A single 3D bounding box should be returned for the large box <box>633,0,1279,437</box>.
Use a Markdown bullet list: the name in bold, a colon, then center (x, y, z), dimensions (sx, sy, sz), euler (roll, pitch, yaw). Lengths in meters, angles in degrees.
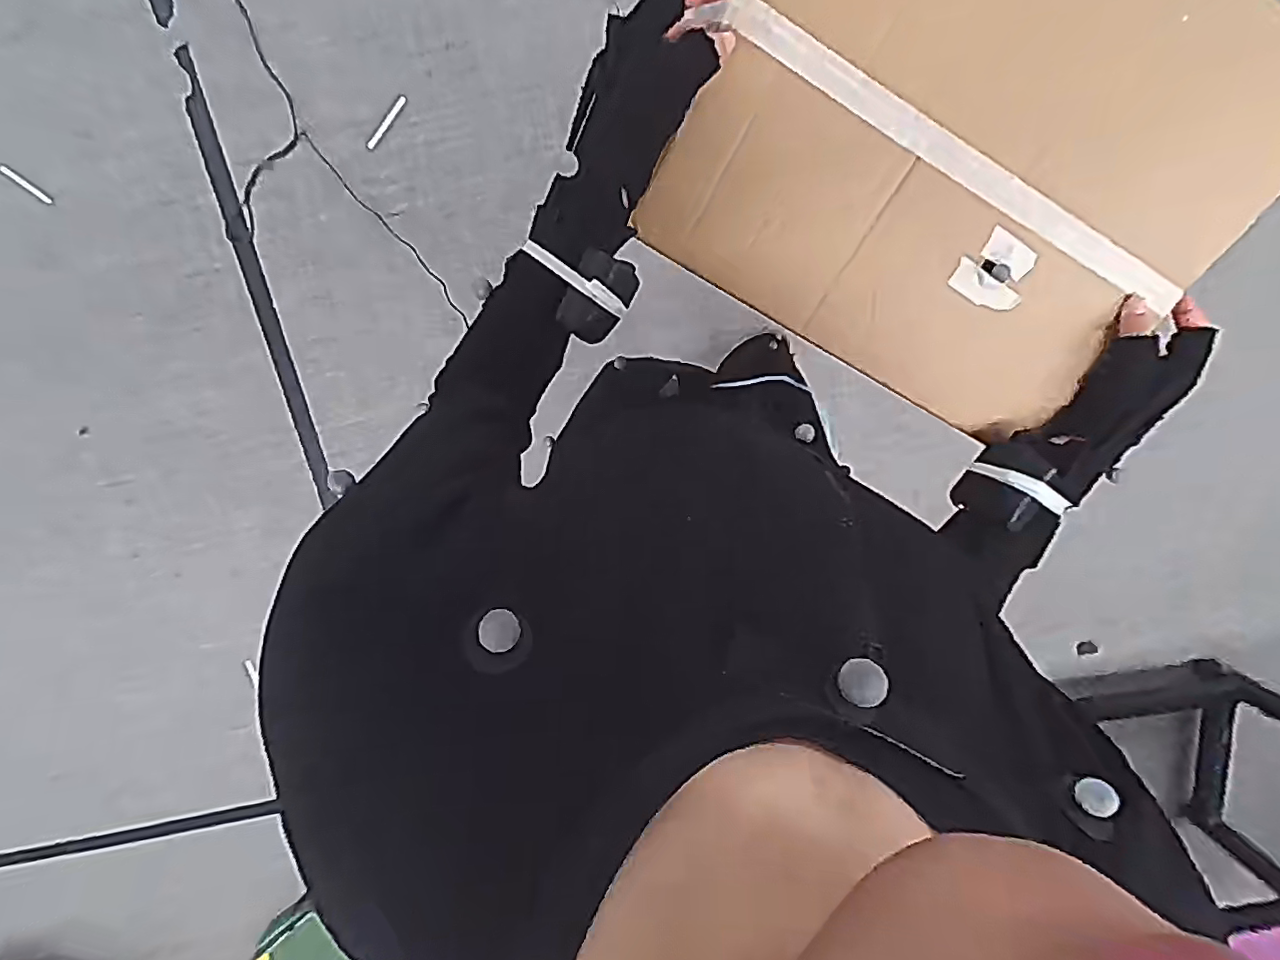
- **large box**: center (0.242, -0.308, 0.543), dimensions (0.408, 0.320, 0.320), euler (27, 117, -10)
